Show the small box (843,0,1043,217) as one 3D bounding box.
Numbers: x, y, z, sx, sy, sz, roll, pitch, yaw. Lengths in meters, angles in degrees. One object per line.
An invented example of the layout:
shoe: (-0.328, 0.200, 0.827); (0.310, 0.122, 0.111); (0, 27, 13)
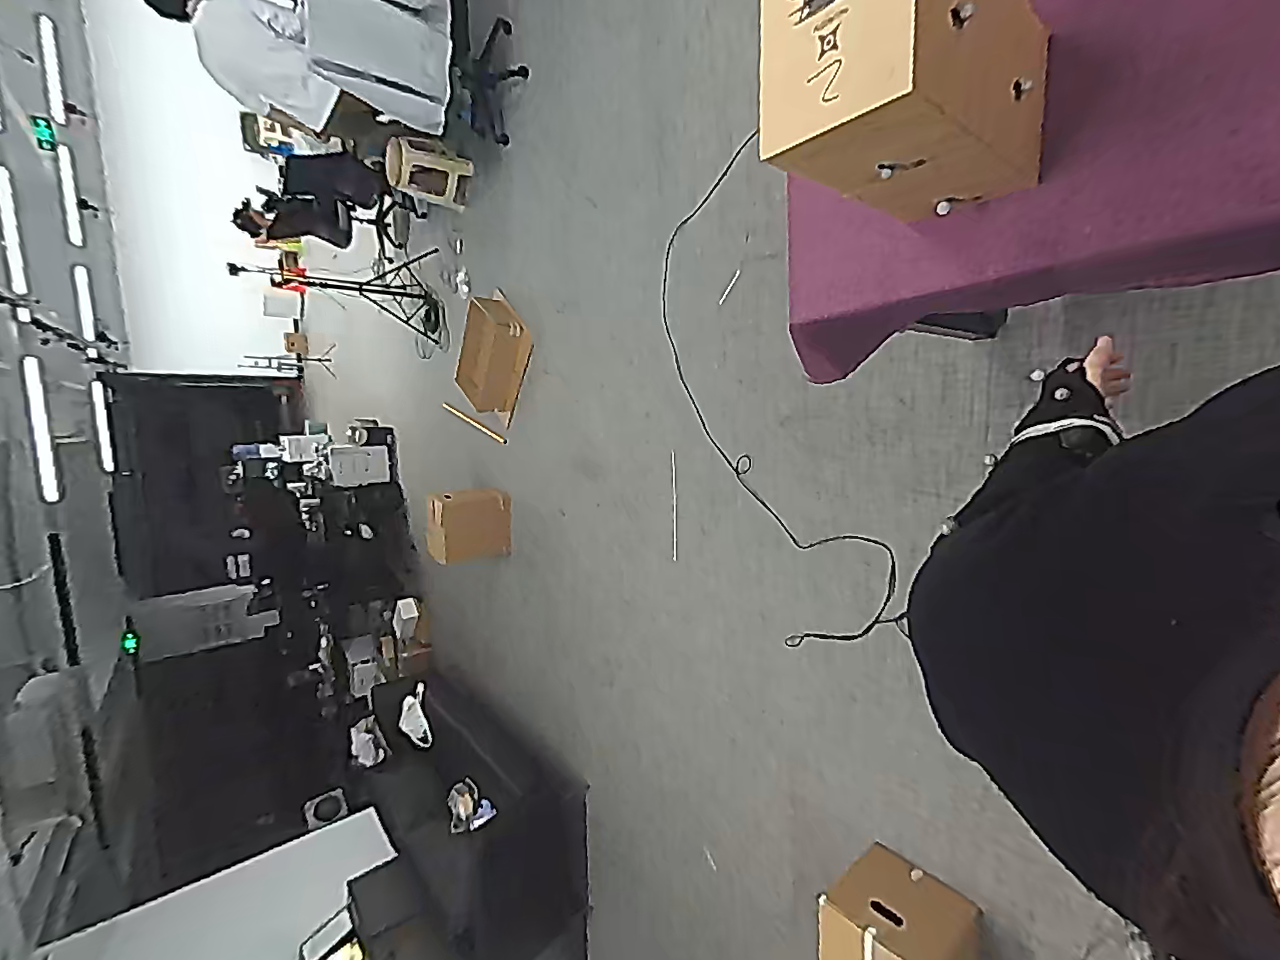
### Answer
small box: (0.372, -0.450, 0.665); (0.168, 0.176, 0.179); (8, 103, 51)
